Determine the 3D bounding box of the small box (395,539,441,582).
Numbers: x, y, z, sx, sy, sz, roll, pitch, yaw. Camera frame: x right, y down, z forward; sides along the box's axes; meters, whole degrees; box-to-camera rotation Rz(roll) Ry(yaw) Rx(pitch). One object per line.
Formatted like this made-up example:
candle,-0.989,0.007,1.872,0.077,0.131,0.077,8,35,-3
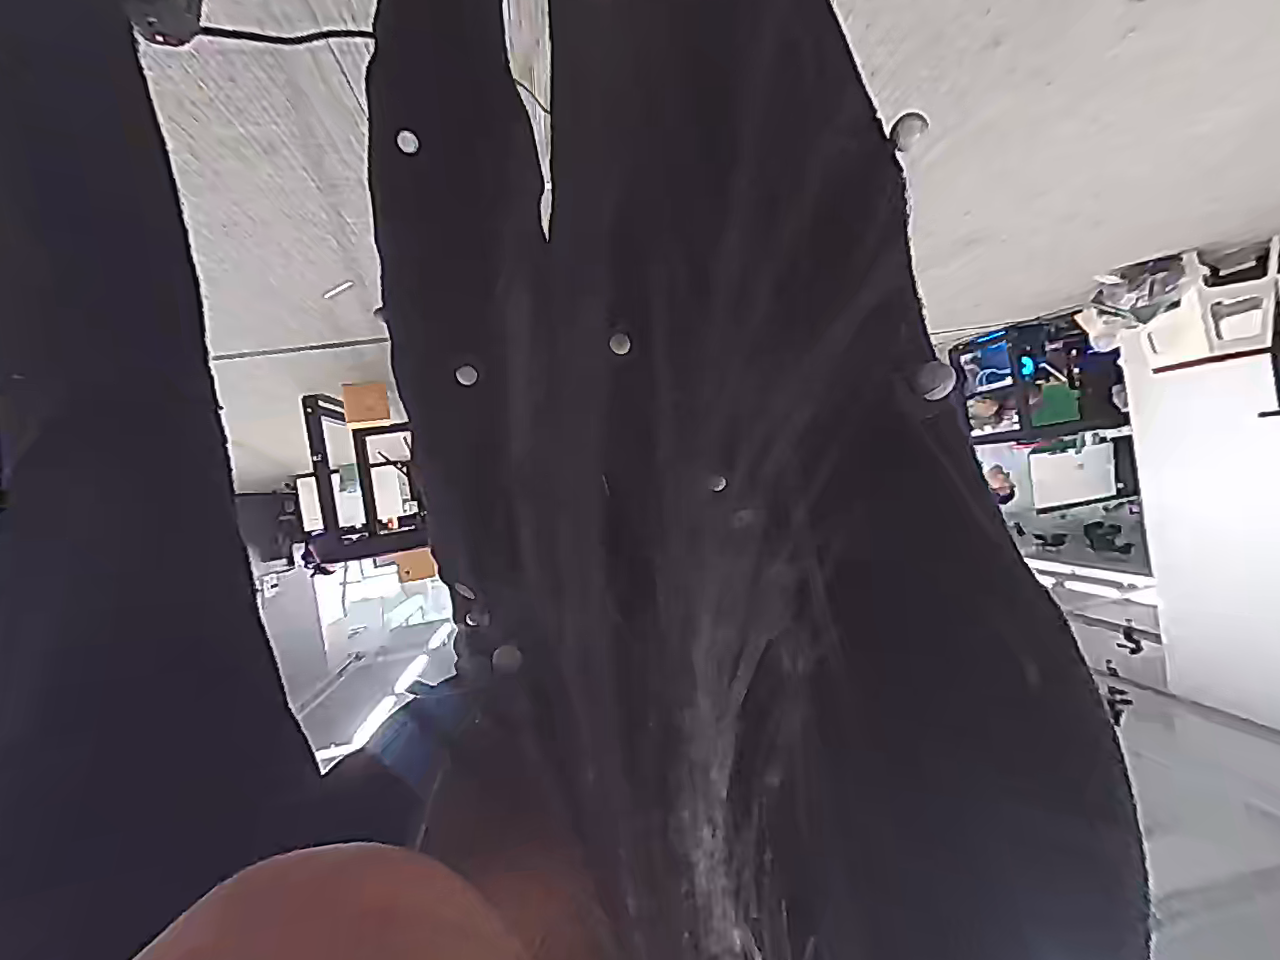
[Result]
small box,-1.081,0.385,2.632,0.179,0.176,0.168,-10,-178,-11

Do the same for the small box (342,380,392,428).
small box,-1.199,-0.333,2.369,0.179,0.176,0.168,-10,-179,-26
